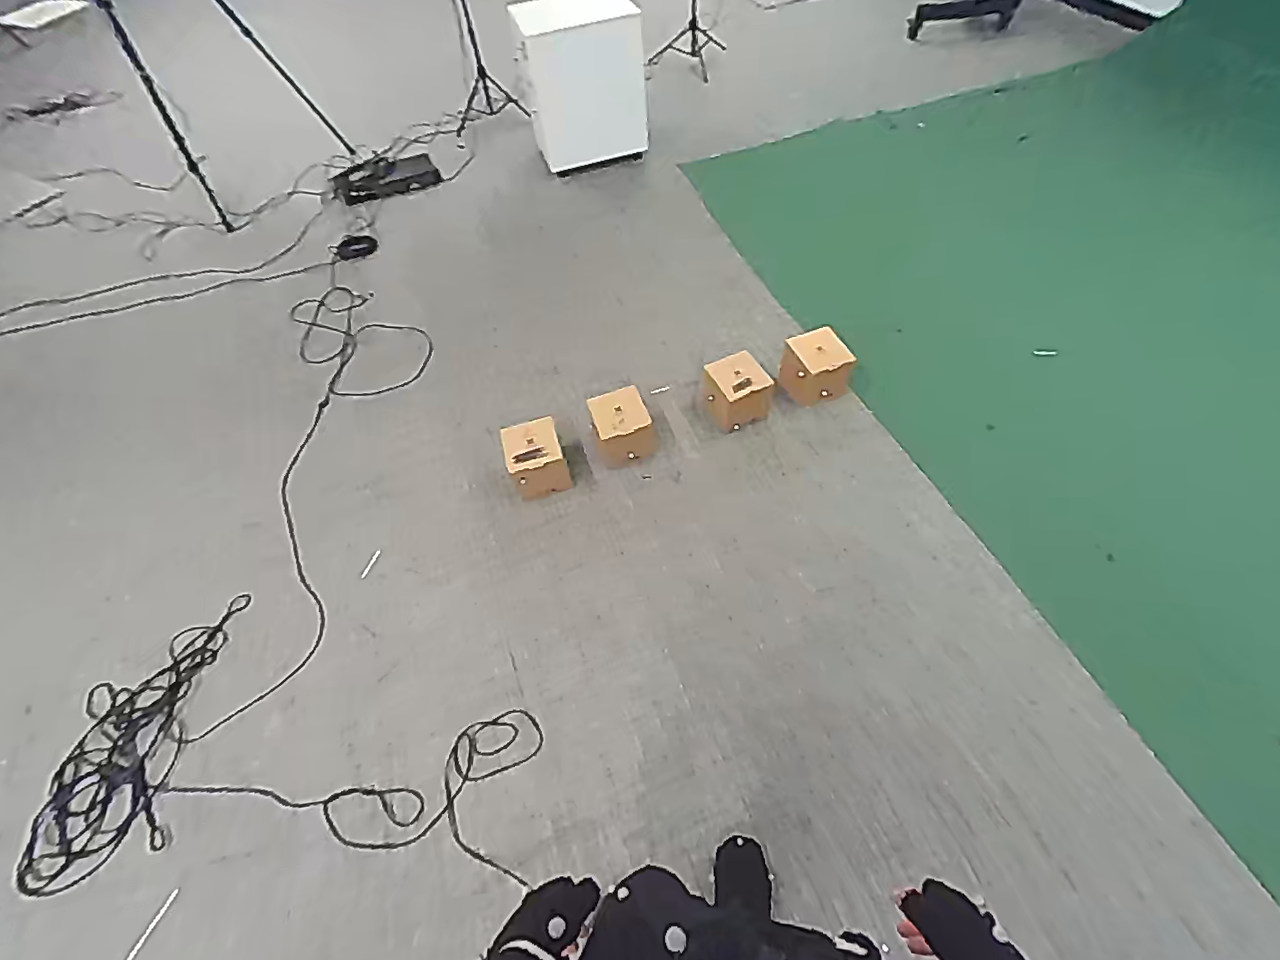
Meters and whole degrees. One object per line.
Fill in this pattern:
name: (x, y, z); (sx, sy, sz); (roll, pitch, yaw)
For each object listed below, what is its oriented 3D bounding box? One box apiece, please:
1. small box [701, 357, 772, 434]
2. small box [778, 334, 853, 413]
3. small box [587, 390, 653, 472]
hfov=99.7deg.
small box: (0.317, -0.274, 1.807); (0.168, 0.176, 0.179); (-22, 57, -12)
small box: (0.593, -0.362, 1.851); (0.168, 0.176, 0.179); (-19, 57, -9)
small box: (-0.063, -0.155, 1.748); (0.168, 0.176, 0.179); (-18, 58, -7)
